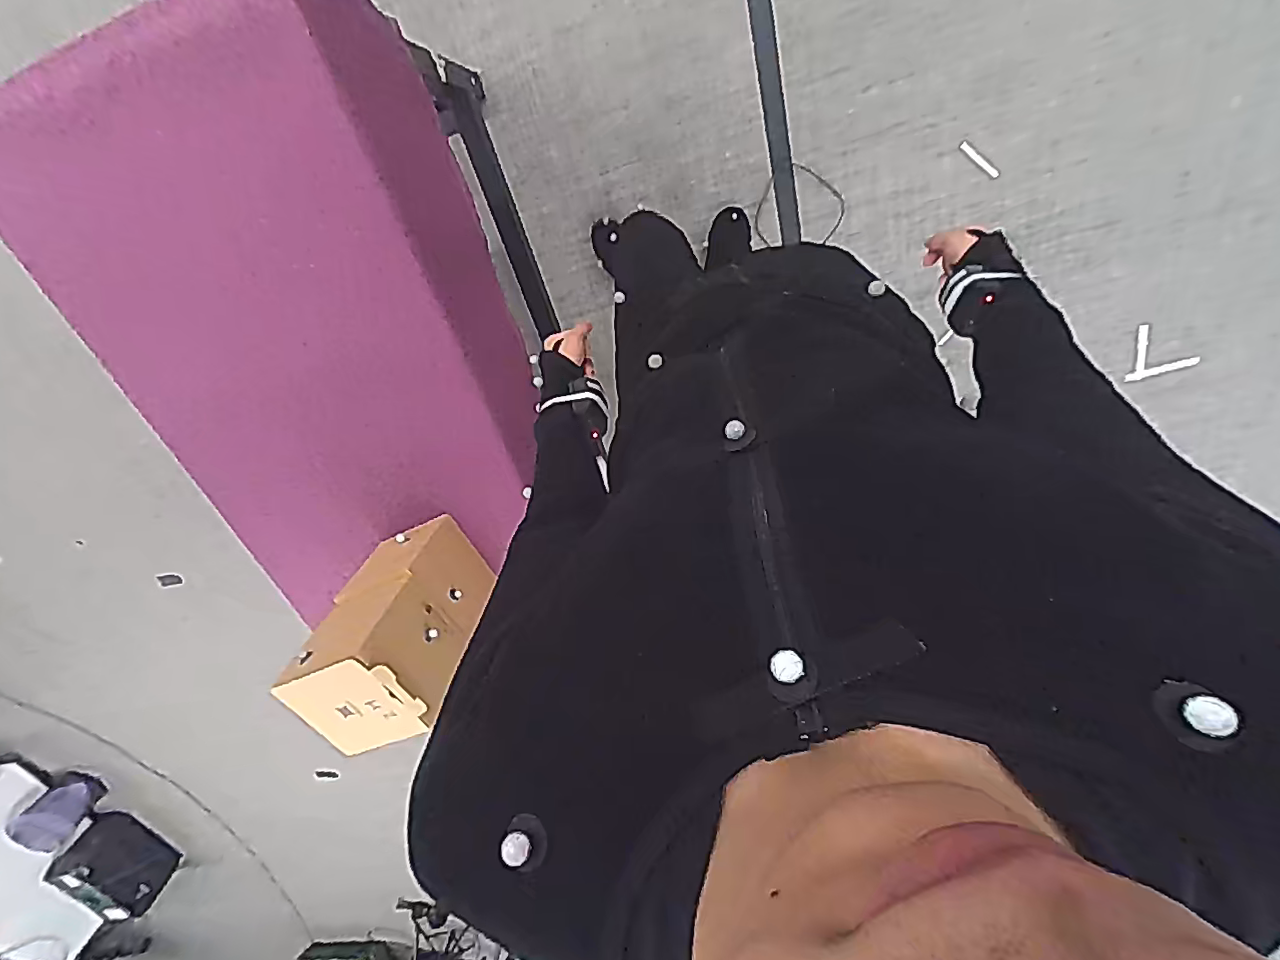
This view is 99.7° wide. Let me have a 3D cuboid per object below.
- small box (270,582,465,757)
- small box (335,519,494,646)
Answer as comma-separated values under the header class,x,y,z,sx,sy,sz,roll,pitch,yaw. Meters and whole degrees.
class,x,y,z,sx,sy,sz,roll,pitch,yaw
small box,-0.409,0.291,0.844,0.179,0.176,0.168,-24,115,17
small box,-0.395,0.202,0.983,0.168,0.176,0.179,-23,114,16
